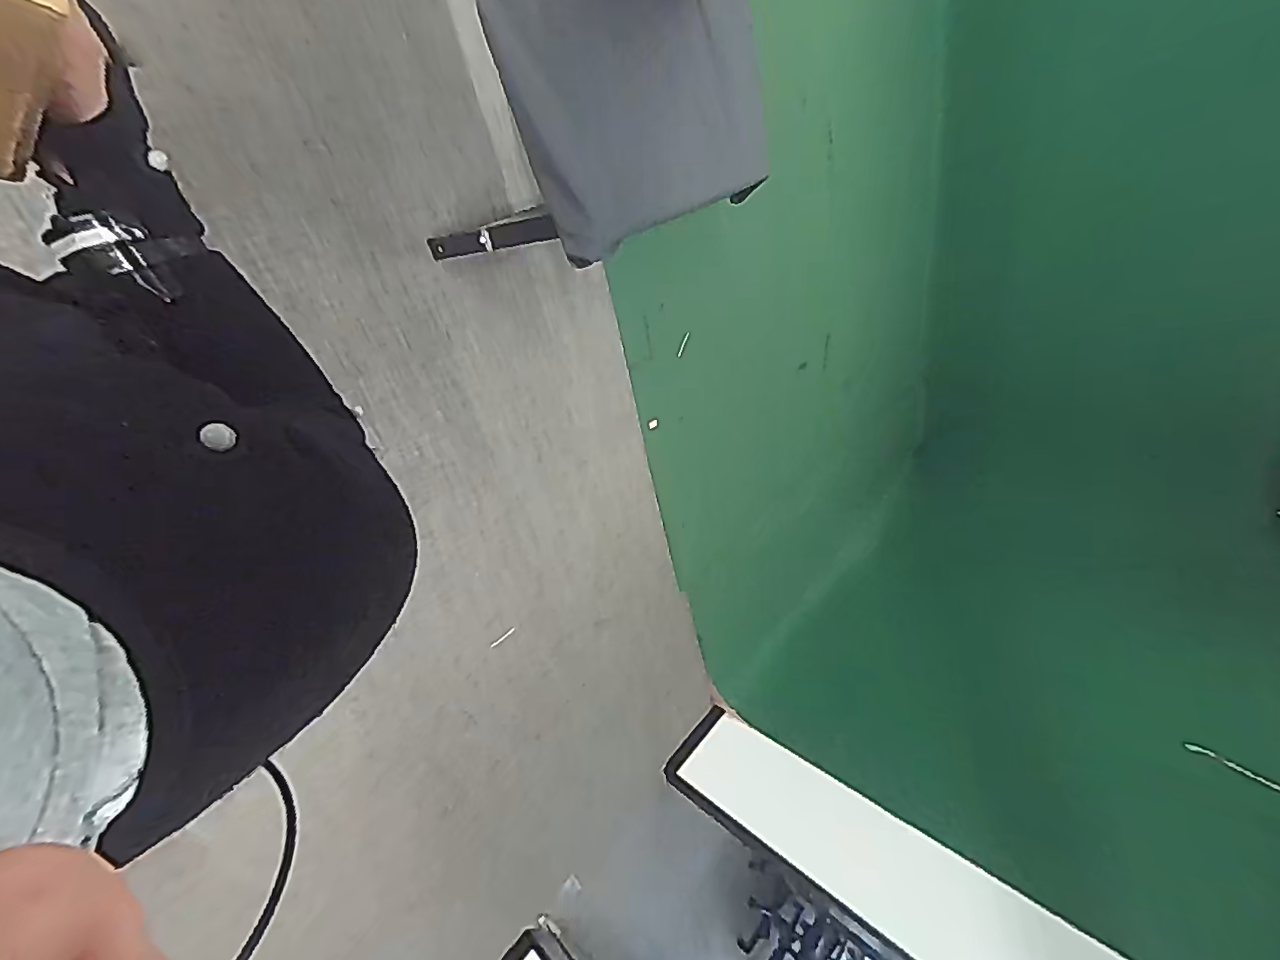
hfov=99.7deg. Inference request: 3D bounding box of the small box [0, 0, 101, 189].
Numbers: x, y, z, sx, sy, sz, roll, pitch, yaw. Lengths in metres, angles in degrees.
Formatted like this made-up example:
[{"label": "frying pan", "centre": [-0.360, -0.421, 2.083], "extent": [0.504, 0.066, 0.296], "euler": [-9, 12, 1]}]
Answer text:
[{"label": "small box", "centre": [-0.378, -0.259, 0.228], "extent": [0.179, 0.176, 0.168], "euler": [-13, 89, -55]}]
